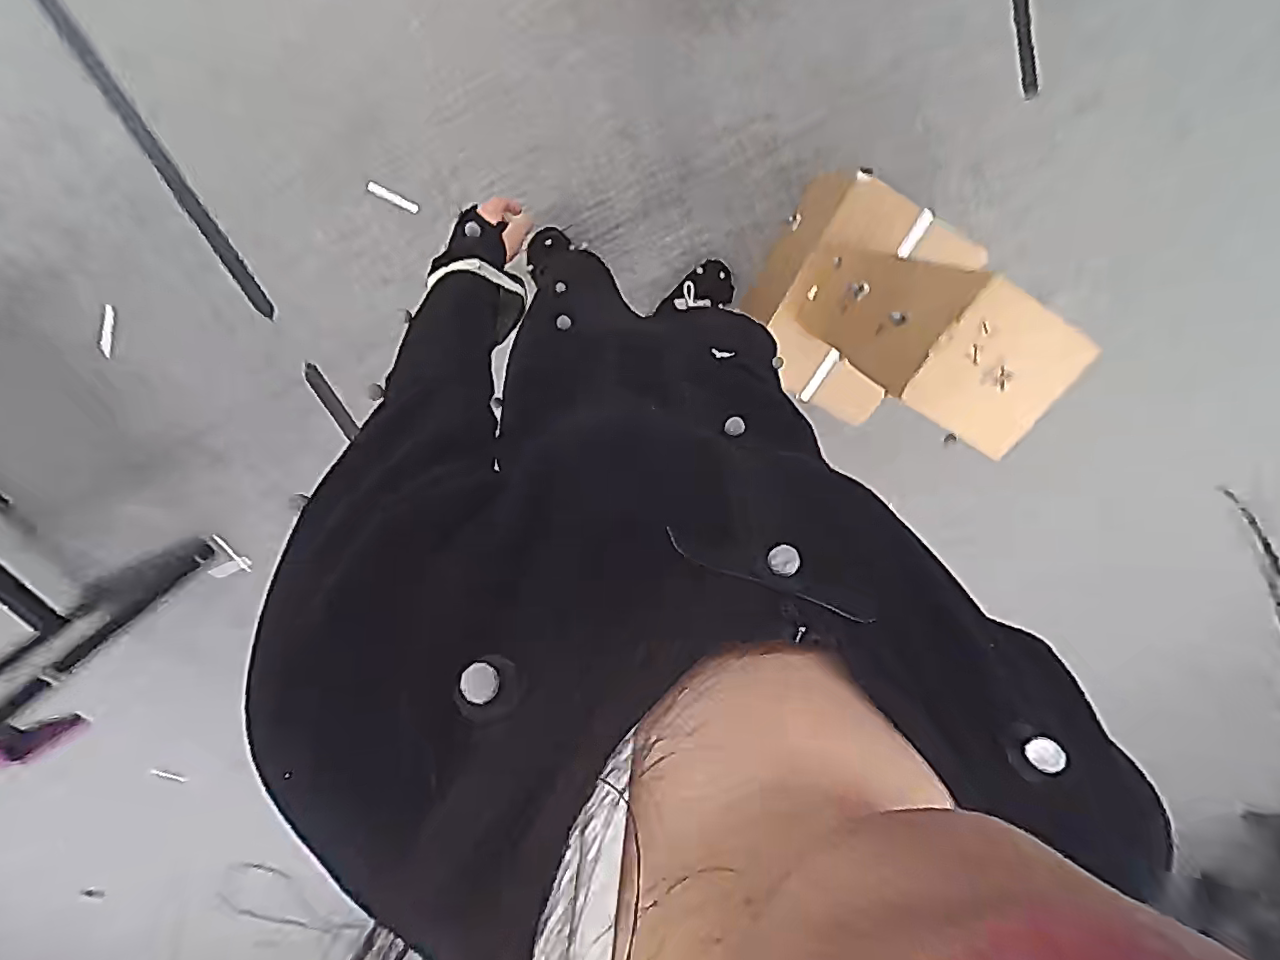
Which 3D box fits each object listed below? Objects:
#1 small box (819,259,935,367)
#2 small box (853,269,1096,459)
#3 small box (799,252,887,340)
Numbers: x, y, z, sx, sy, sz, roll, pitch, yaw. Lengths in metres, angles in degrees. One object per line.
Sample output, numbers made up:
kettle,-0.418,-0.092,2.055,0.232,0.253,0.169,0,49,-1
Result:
small box,0.423,-0.236,0.866,0.179,0.176,0.168,29,113,-13
small box,0.424,-0.162,0.718,0.179,0.176,0.168,27,112,-14
small box,0.428,-0.309,1.011,0.179,0.176,0.168,25,114,-13
